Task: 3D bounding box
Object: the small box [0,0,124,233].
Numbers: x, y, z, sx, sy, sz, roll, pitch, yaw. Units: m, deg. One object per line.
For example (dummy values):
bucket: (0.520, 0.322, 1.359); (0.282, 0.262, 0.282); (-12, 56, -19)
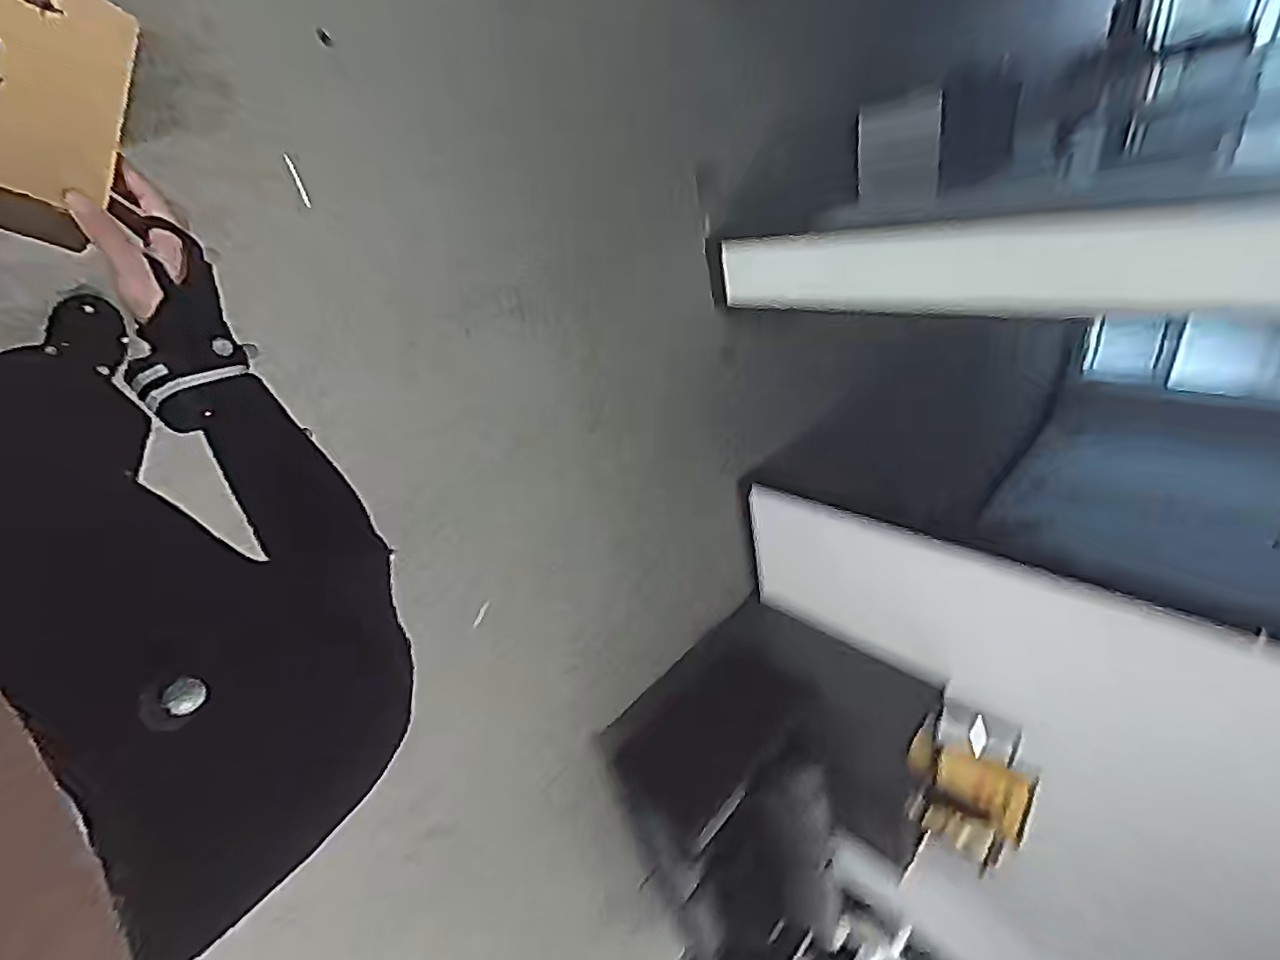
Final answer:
small box: (-0.545, -0.320, 0.431); (0.168, 0.176, 0.179); (7, 93, -51)
